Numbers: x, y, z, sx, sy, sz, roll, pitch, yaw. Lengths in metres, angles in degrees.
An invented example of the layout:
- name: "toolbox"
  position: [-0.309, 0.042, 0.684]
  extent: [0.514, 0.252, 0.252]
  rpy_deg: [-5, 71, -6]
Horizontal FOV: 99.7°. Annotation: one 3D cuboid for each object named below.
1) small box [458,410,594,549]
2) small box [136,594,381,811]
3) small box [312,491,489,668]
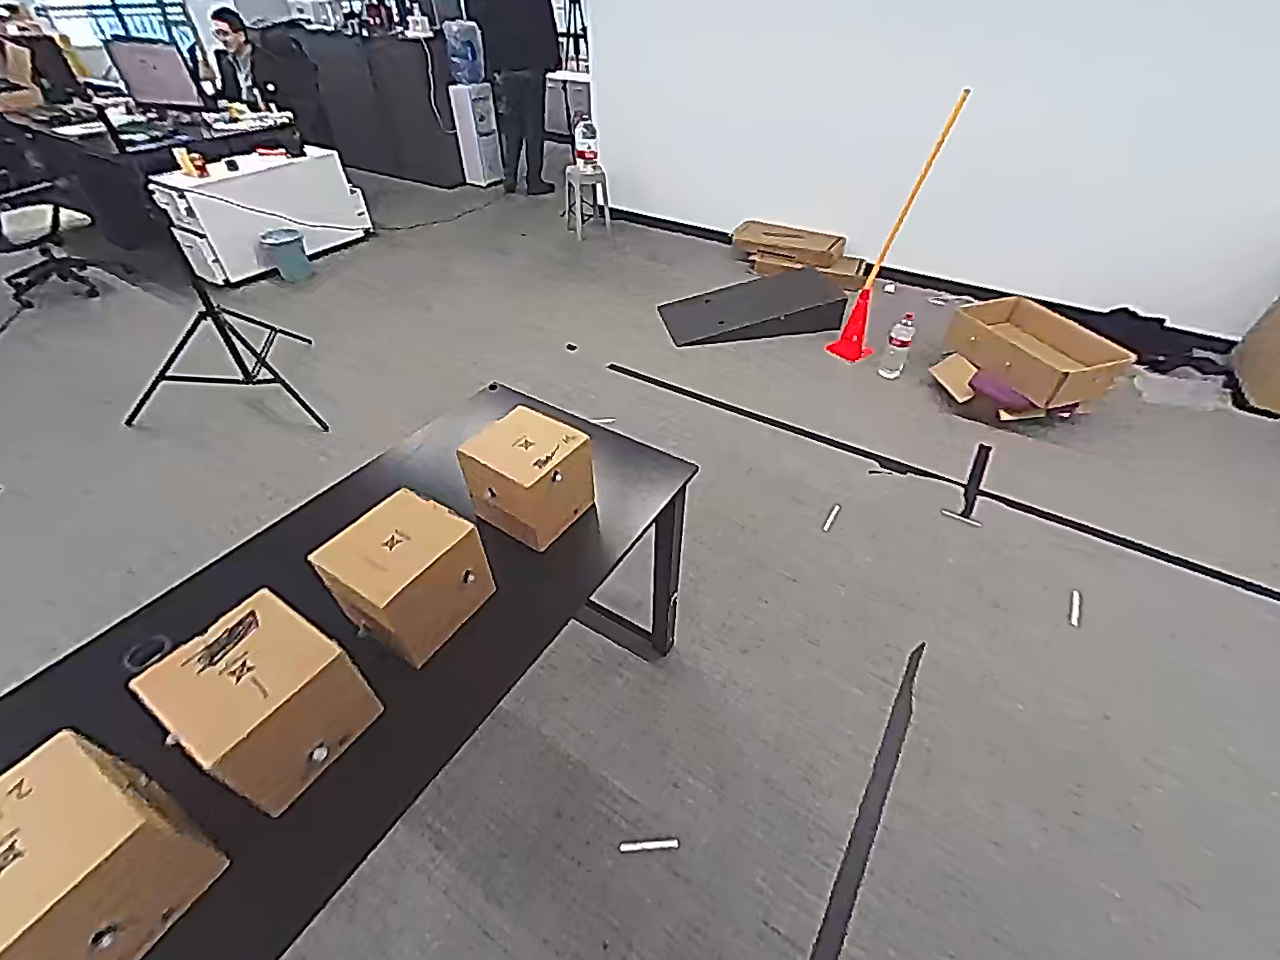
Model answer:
- name: "small box"
  position: [-0.205, 0.000, 1.013]
  extent: [0.179, 0.176, 0.168]
  rpy_deg: [24, 49, 25]
- name: "small box"
  position: [-0.479, 0.289, 0.703]
  extent: [0.179, 0.176, 0.168]
  rpy_deg: [24, 48, 23]
- name: "small box"
  position: [-0.359, 0.155, 0.850]
  extent: [0.168, 0.176, 0.179]
  rpy_deg: [23, 48, 24]
